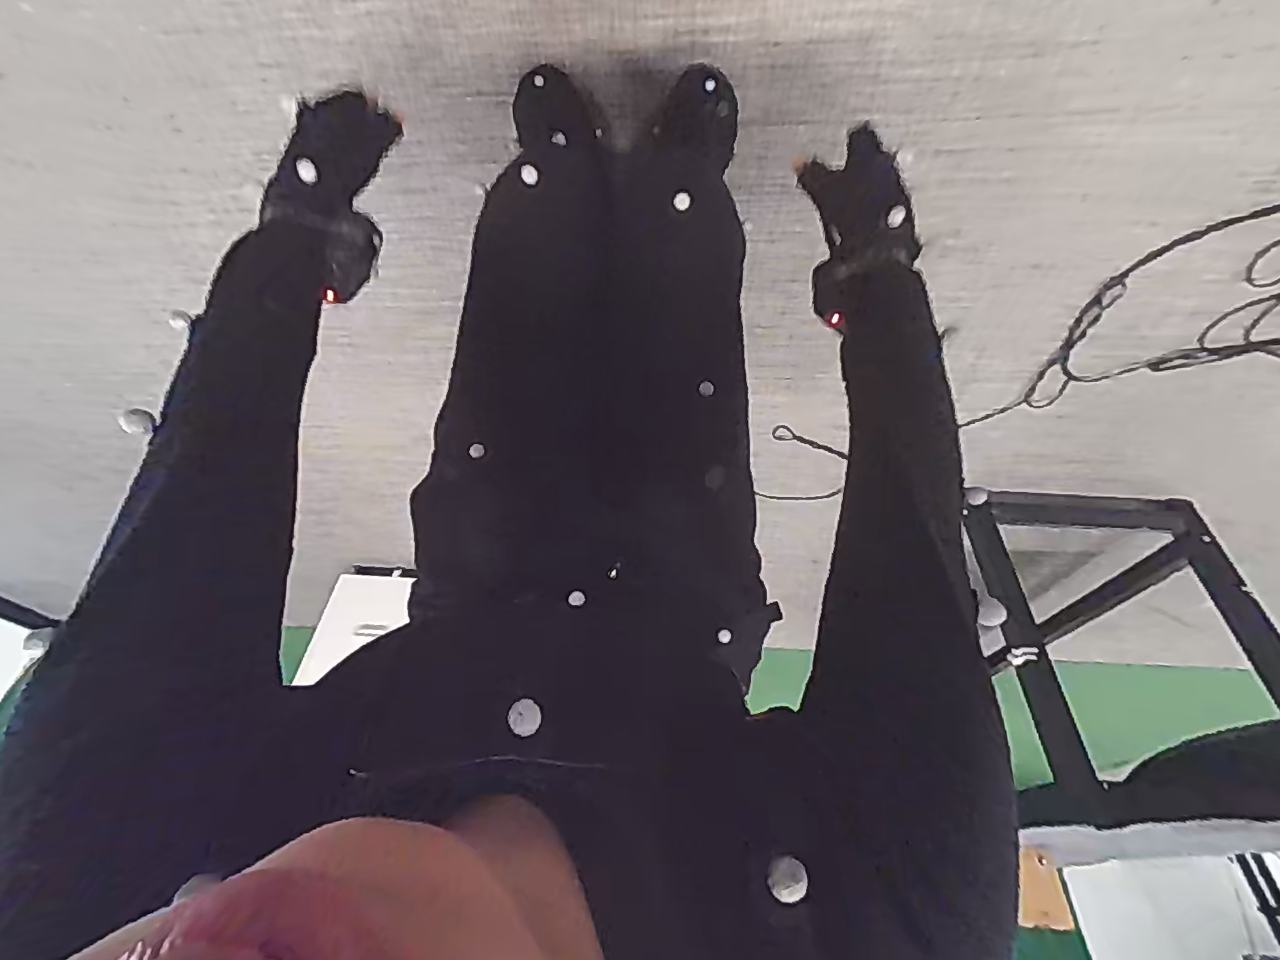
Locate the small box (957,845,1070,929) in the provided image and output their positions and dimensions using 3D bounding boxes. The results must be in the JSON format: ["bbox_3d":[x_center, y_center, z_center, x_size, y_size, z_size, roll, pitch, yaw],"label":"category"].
[{"bbox_3d":[0.989,1.091,1.454,0.168,0.176,0.179,4,144,1],"label":"small box"}]
